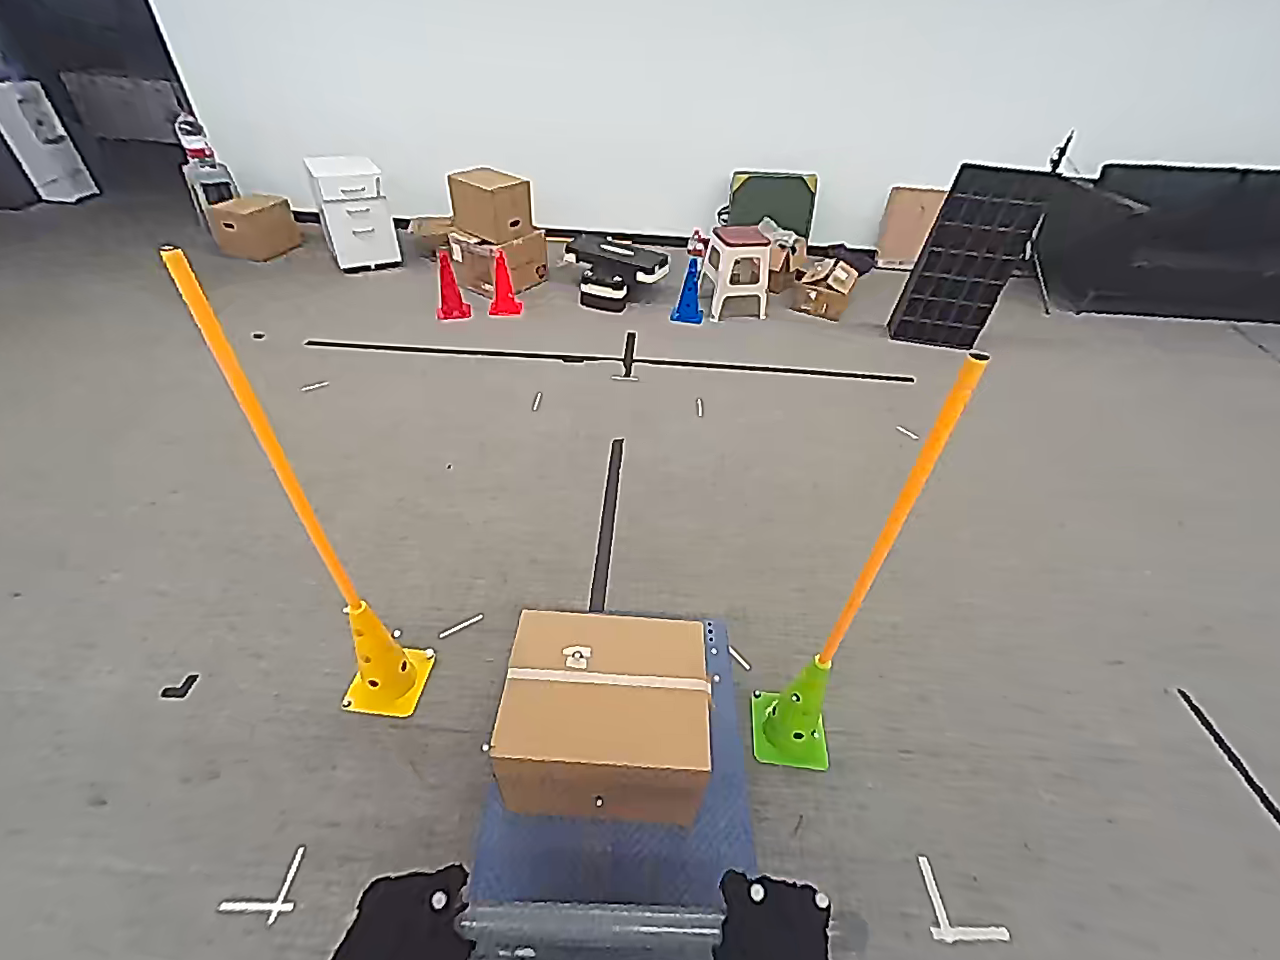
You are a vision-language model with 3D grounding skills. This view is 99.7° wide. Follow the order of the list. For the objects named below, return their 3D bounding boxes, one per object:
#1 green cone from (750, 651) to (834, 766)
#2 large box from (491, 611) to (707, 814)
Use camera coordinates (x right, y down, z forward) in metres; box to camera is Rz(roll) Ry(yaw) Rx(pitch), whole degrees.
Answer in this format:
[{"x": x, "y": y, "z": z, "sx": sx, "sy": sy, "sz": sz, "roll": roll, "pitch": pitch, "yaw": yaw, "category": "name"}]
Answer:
[{"x": 0.425, "y": 0.561, "z": 1.404, "sx": 0.202, "sy": 0.368, "sz": 0.200, "roll": 8, "pitch": 42, "yaw": 2, "category": "green cone"}, {"x": -0.074, "y": 0.516, "z": 1.196, "sx": 0.408, "sy": 0.320, "sz": 0.320, "roll": 4, "pitch": 42, "yaw": 1, "category": "large box"}]
